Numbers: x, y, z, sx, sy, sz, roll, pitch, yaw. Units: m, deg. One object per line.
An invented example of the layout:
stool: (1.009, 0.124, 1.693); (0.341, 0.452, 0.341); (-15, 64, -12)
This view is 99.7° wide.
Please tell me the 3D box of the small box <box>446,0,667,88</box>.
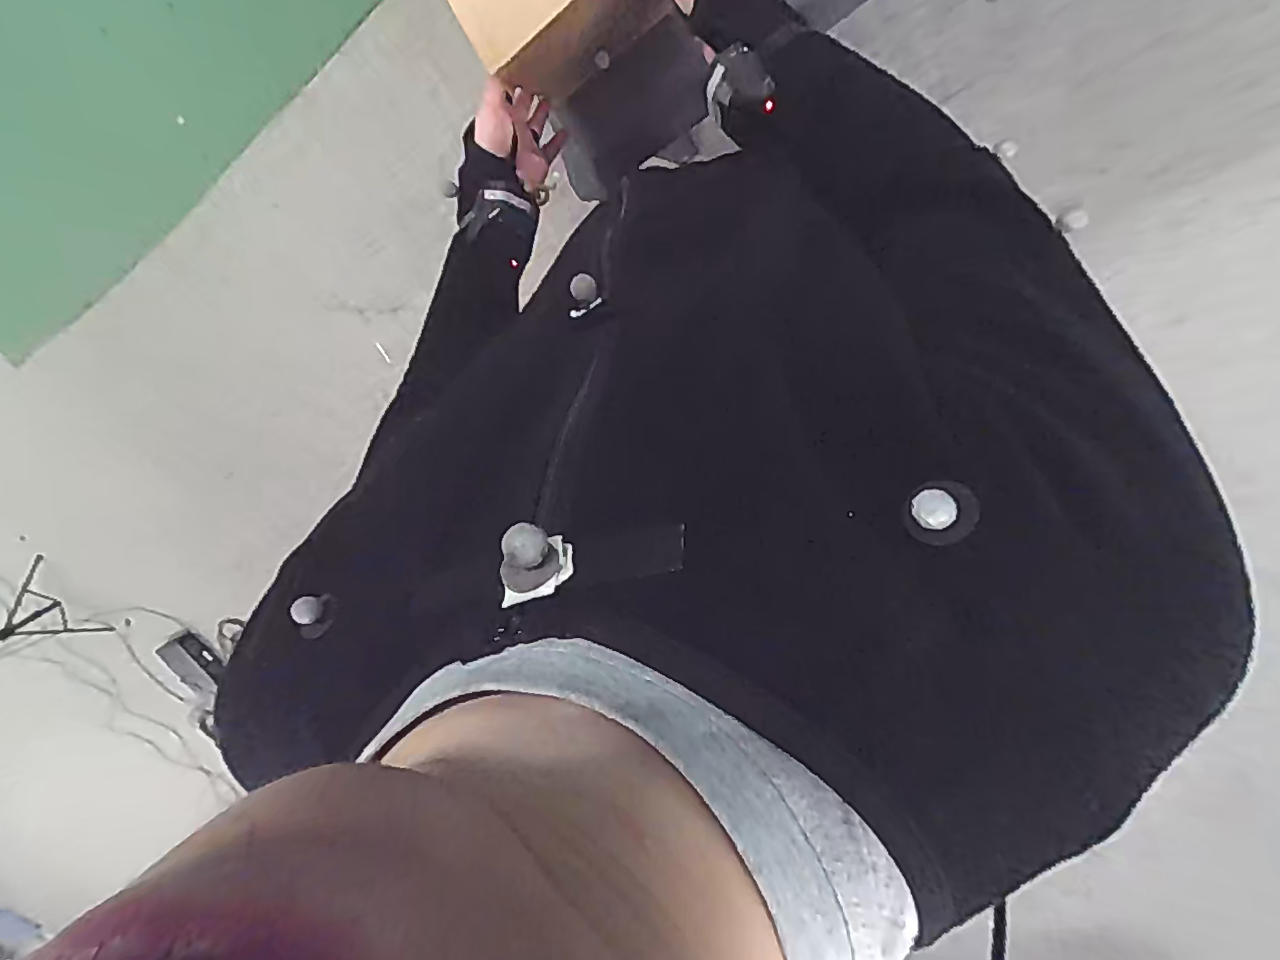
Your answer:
small box: (-0.091, -0.494, 0.480); (0.168, 0.176, 0.179); (-21, 111, 24)
